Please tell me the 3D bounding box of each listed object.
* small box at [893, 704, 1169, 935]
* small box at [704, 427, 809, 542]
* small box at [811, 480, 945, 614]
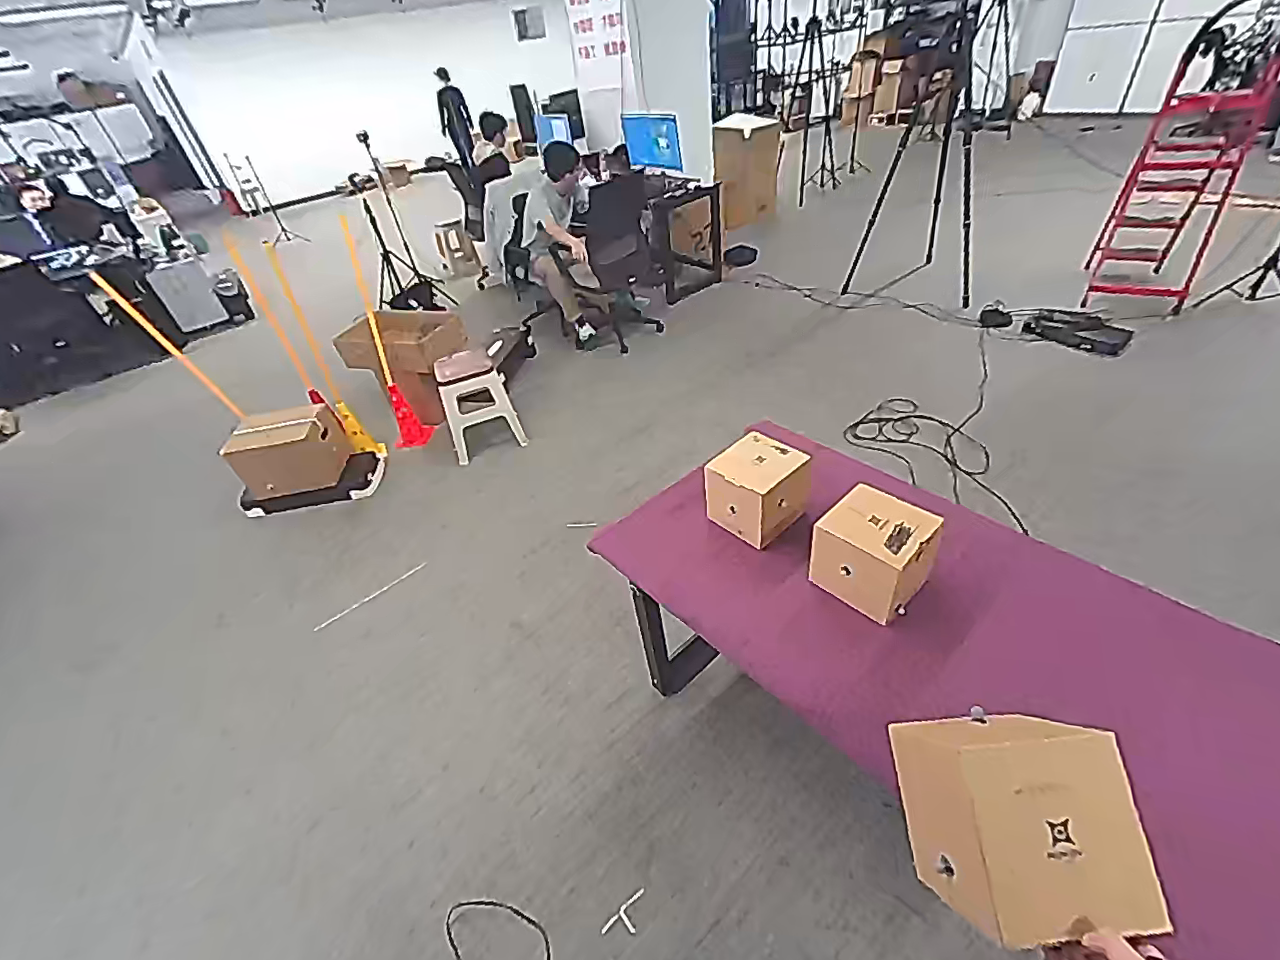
[{"bbox_3d":[0.411,0.360,0.605,0.168,0.176,0.179,-4,74,-1],"label":"small box"},{"bbox_3d":[0.270,0.012,1.251,0.179,0.176,0.168,-35,46,-26],"label":"small box"},{"bbox_3d":[0.459,0.136,1.065,0.168,0.176,0.179,-34,44,-26],"label":"small box"}]
